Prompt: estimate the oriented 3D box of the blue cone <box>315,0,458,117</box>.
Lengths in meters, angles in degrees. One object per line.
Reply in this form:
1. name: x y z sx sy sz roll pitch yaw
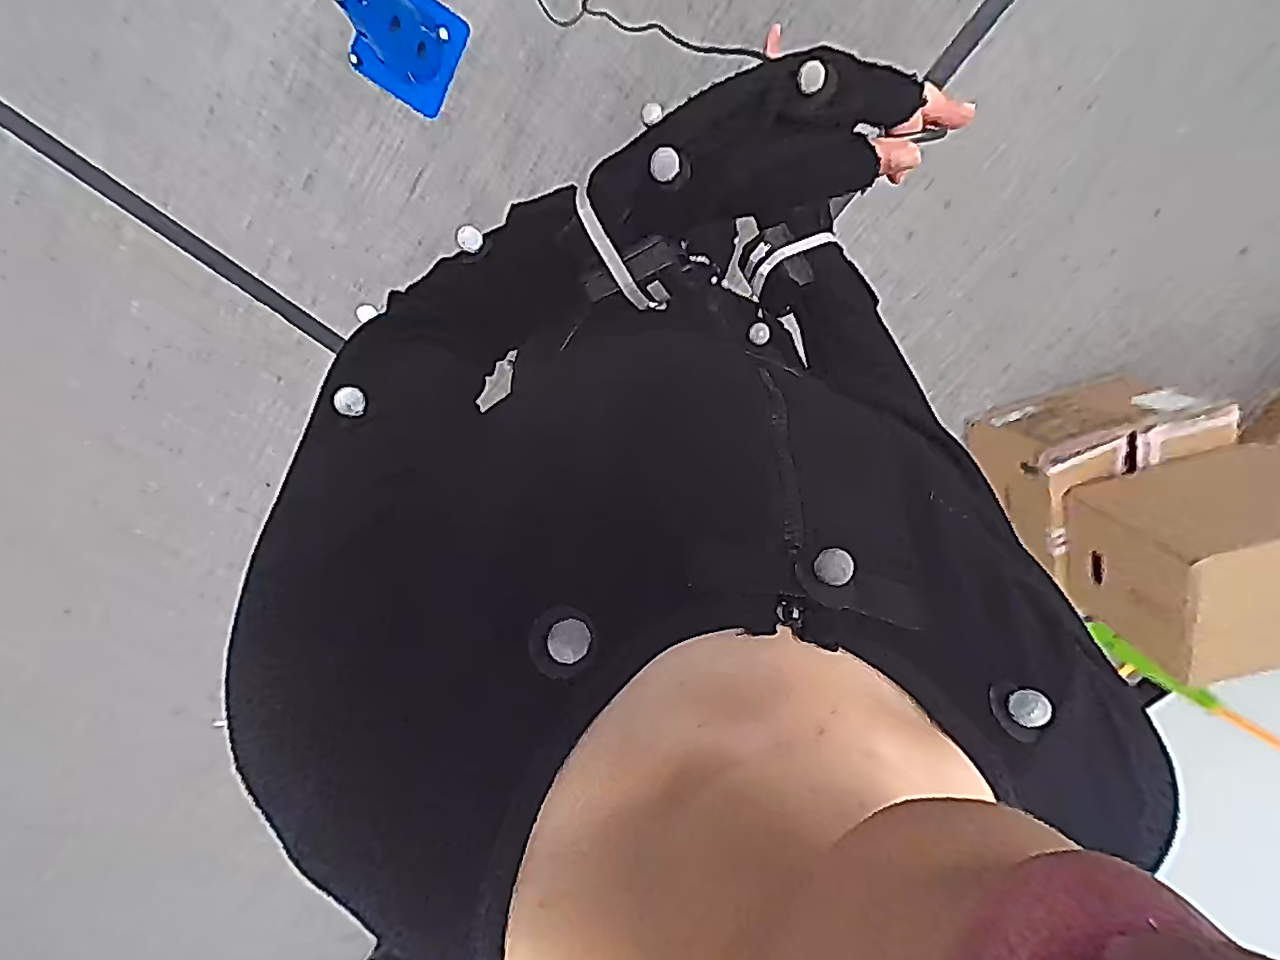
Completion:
1. blue cone: -0.486 -0.826 0.972 0.193 0.380 0.192 30 109 -14
